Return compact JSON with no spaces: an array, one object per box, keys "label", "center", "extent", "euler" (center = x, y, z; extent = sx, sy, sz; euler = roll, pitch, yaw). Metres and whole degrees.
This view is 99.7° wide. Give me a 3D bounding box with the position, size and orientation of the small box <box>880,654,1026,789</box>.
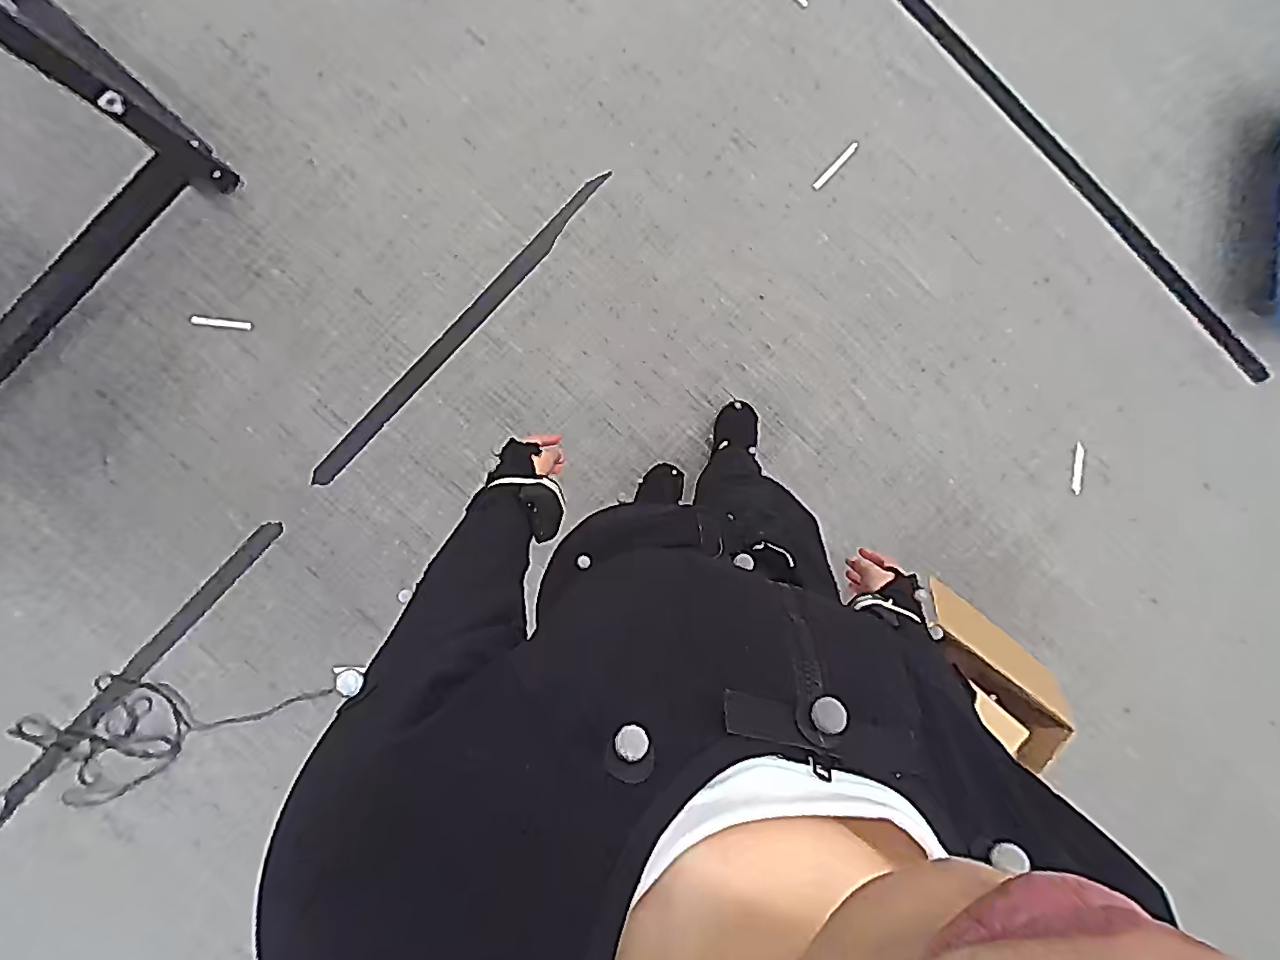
[{"label":"small box","center":[0.670,0.512,1.177],"extent":[0.179,0.176,0.168],"euler":[41,90,-4]}]
